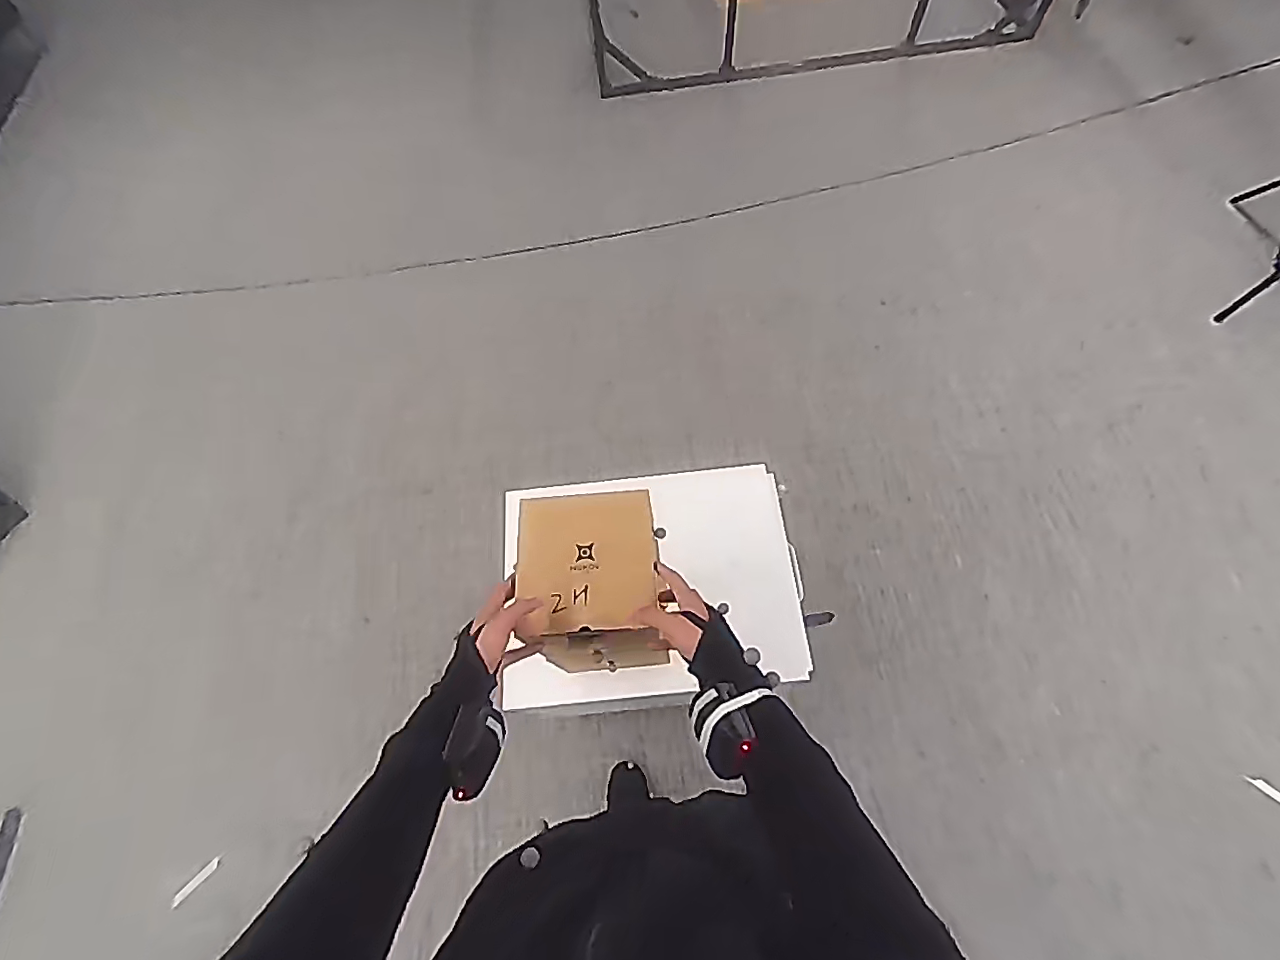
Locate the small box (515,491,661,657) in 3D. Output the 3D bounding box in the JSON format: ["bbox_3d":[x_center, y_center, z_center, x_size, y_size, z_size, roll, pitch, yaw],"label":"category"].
[{"bbox_3d":[-0.059,0.130,0.718,0.168,0.176,0.179,-4,64,3],"label":"small box"}]
